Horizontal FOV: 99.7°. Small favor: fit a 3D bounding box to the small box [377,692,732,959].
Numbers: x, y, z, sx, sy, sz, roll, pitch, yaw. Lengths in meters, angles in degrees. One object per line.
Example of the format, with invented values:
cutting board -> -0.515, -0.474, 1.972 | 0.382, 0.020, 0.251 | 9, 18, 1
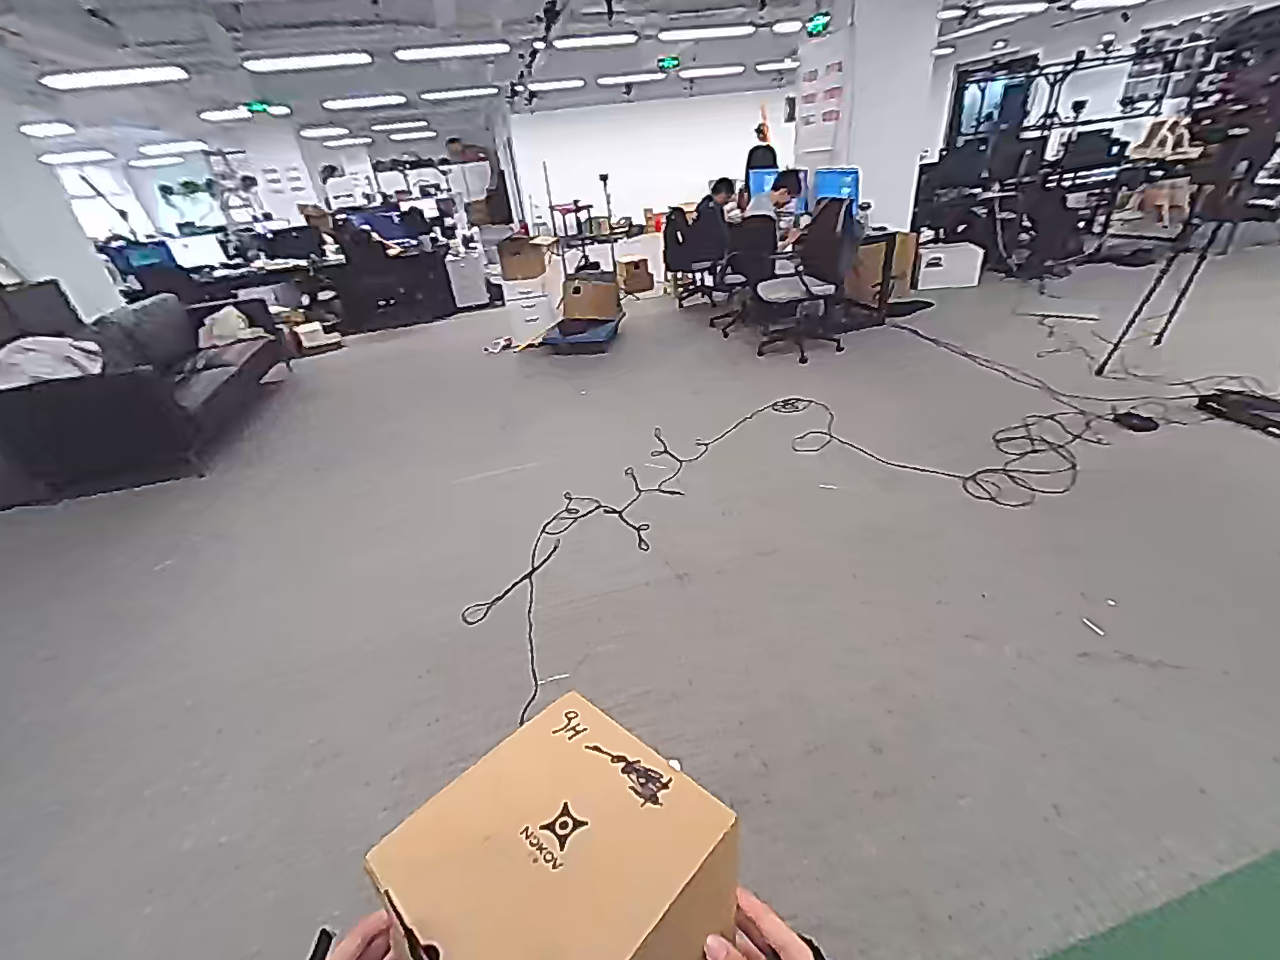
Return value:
small box -> -0.047, 0.301, 0.383 | 0.168, 0.176, 0.179 | 19, 34, 39
